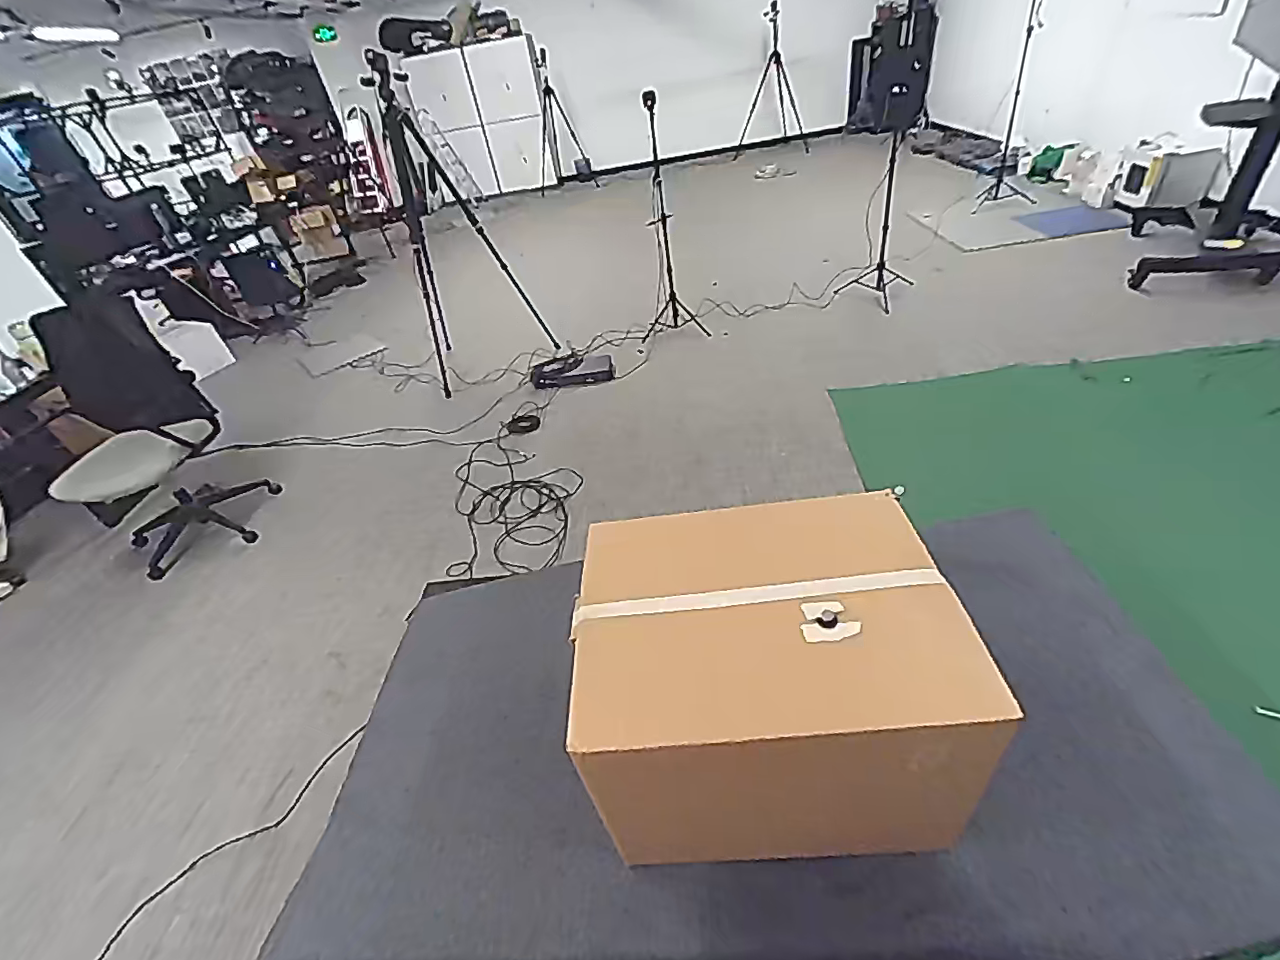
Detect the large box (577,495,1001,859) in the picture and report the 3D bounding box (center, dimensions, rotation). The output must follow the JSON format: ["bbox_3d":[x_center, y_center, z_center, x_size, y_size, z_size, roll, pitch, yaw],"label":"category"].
[{"bbox_3d":[0.151,0.254,0.708,0.408,0.320,0.320,-7,38,5],"label":"large box"}]
